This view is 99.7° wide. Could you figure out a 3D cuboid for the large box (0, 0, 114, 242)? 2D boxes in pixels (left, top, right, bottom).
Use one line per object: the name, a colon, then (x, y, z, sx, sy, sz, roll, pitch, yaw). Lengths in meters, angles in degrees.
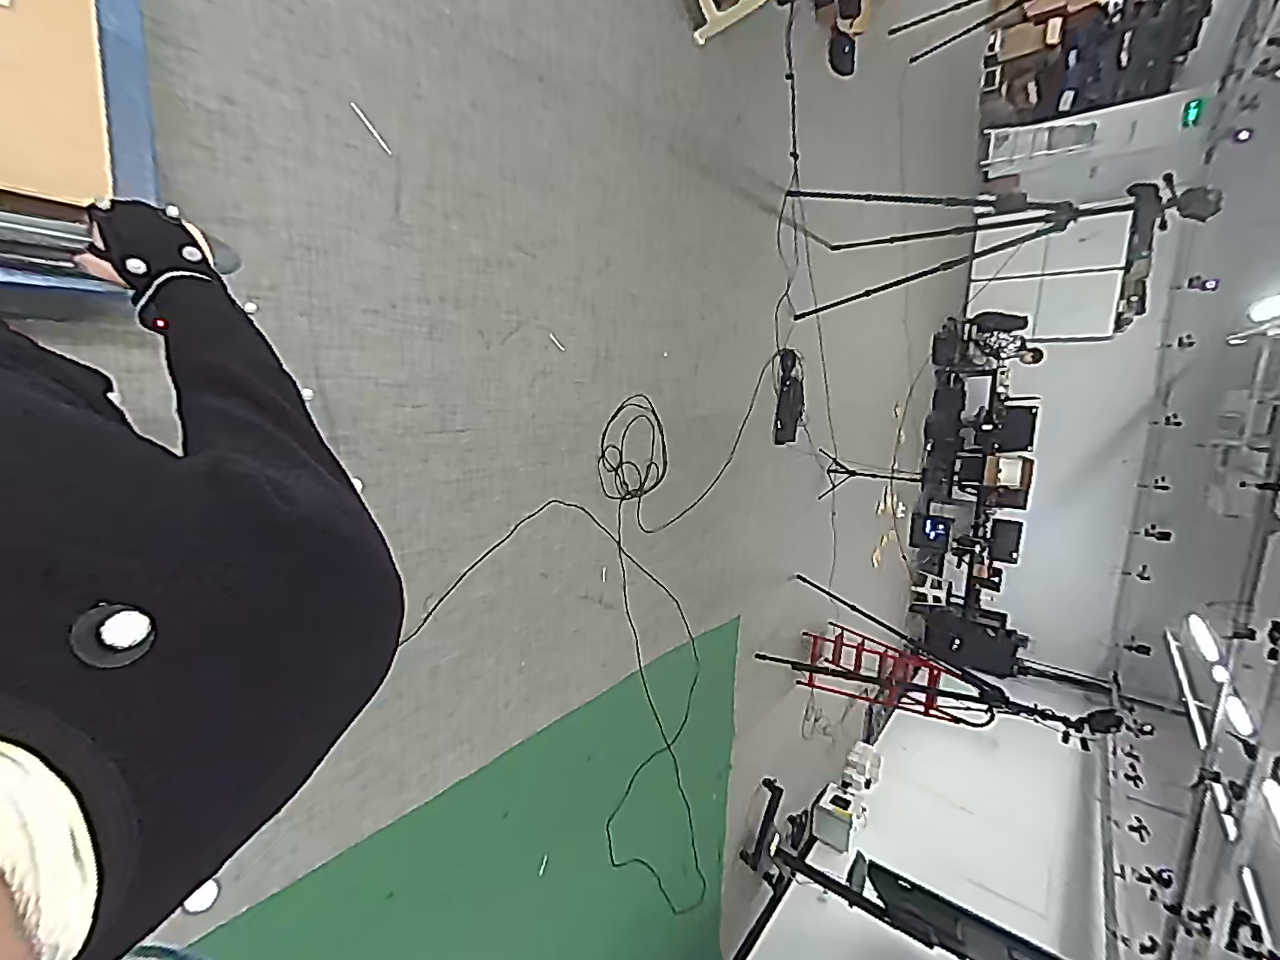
large box: (-1.026, -0.608, 0.785, 0.320, 0.320, 0.408, -9, 103, -50)
